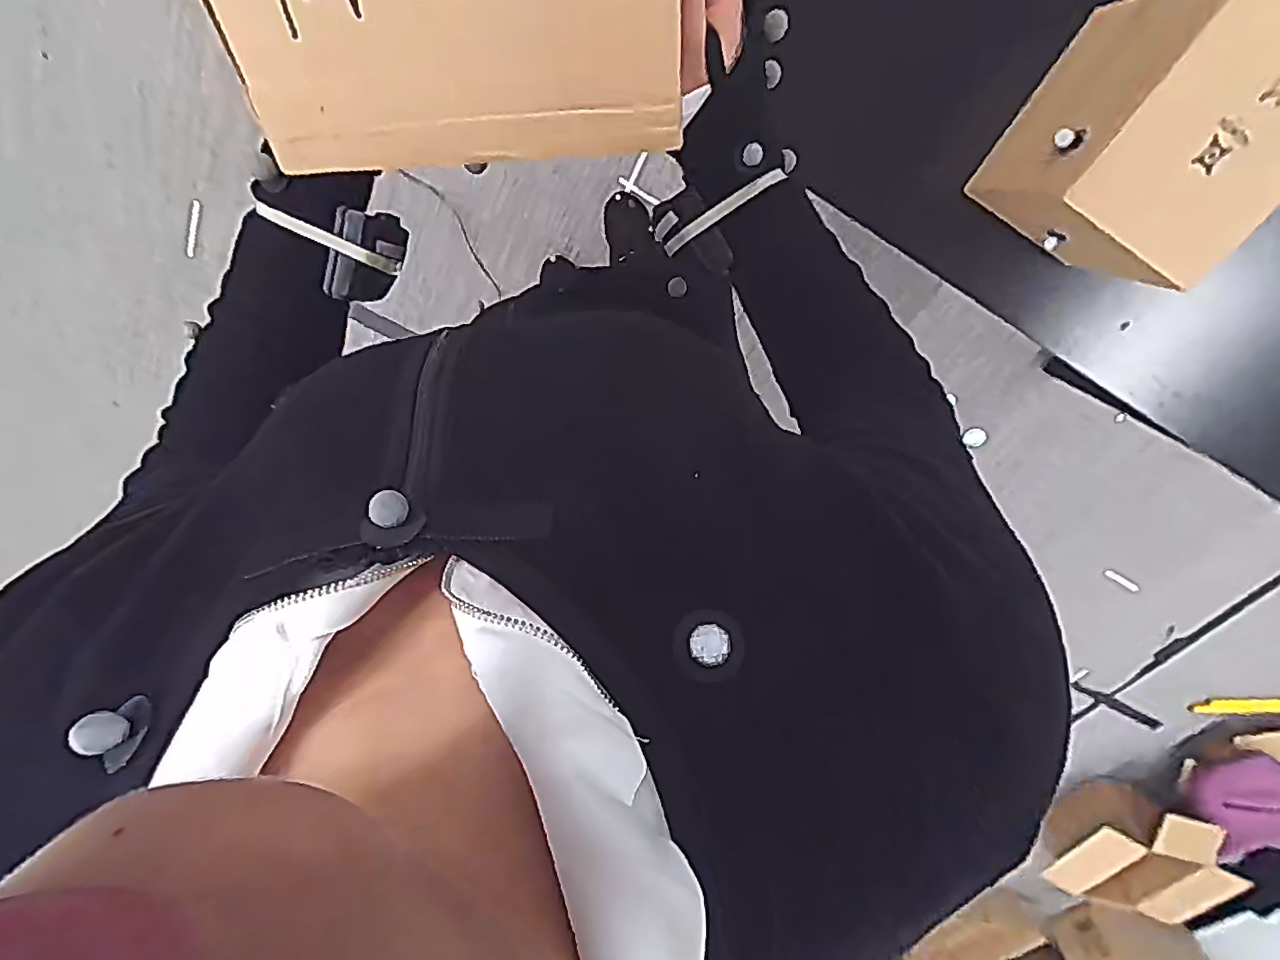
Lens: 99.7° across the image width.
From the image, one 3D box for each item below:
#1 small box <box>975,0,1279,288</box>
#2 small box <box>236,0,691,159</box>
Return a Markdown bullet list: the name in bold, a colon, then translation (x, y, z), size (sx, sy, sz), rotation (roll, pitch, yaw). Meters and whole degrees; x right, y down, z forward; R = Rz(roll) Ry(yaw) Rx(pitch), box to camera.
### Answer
- **small box**: translation (0.462, -0.315, 0.513), size (0.168, 0.176, 0.179), rotation (24, 117, -14)
- **small box**: translation (-0.068, -0.258, 0.245), size (0.179, 0.176, 0.168), rotation (-2, 134, 0)
